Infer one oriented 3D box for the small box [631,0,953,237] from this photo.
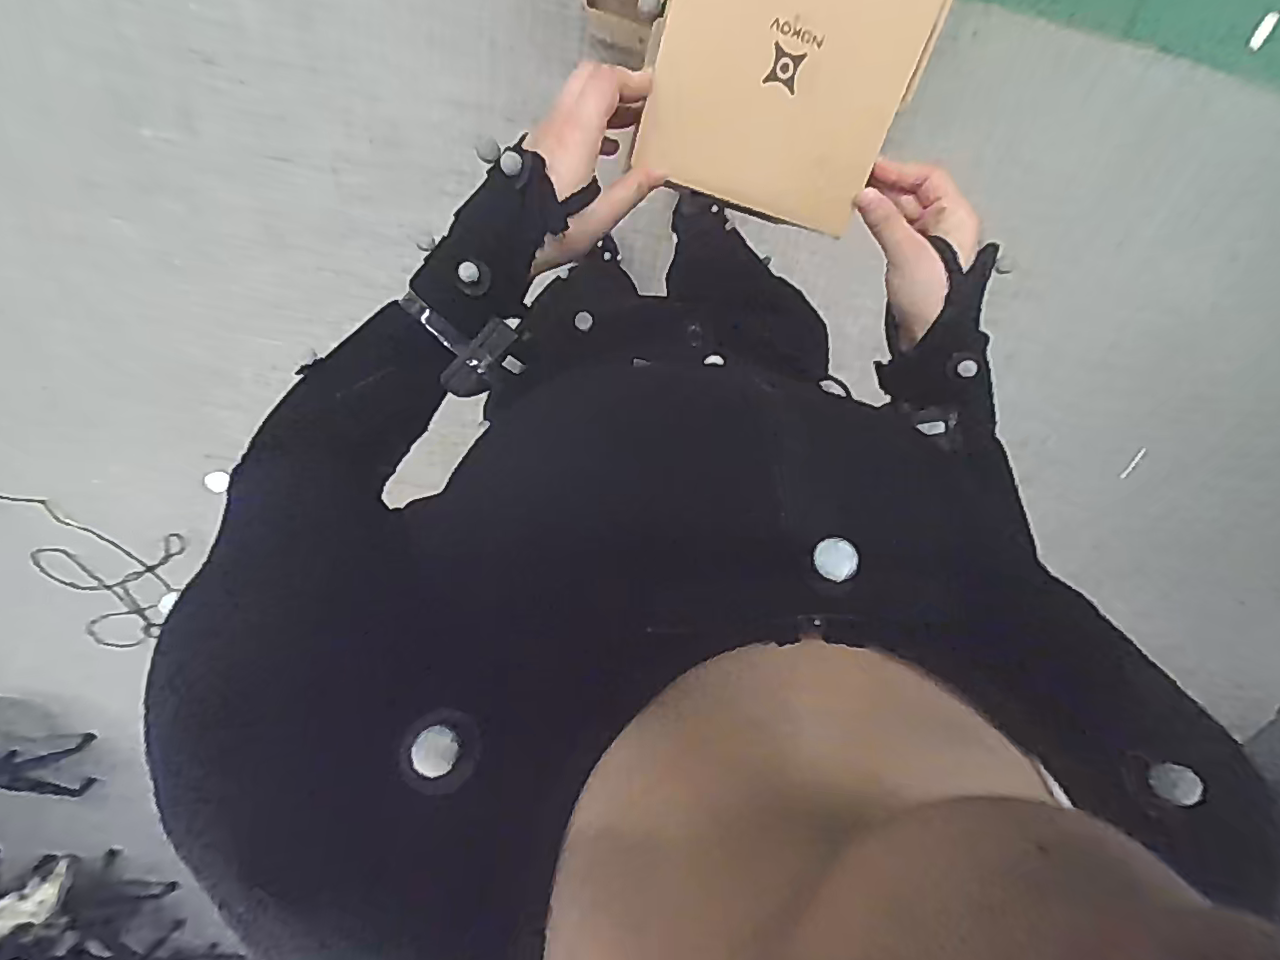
[{"bbox_3d":[0.093,-0.307,0.411,0.168,0.176,0.179,13,117,-12],"label":"small box"}]
